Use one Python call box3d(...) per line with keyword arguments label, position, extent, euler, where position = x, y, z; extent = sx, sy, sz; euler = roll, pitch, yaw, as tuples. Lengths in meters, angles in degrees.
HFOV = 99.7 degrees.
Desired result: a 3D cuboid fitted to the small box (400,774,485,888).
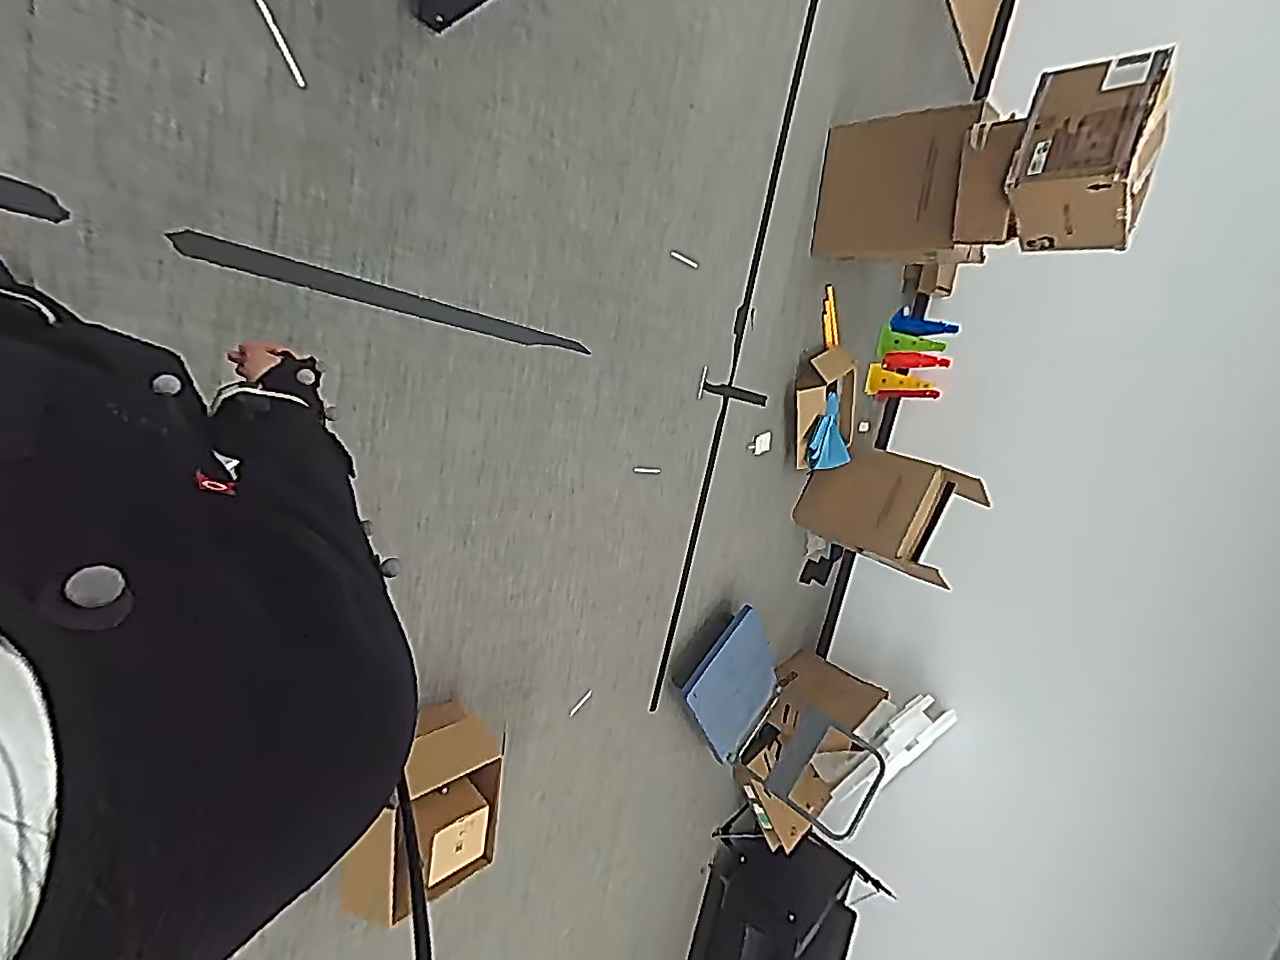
box3d(label="small box", position=(-0.564, 0.986, 1.534), extent=(0.168, 0.176, 0.179), euler=(-3, 107, -47))
